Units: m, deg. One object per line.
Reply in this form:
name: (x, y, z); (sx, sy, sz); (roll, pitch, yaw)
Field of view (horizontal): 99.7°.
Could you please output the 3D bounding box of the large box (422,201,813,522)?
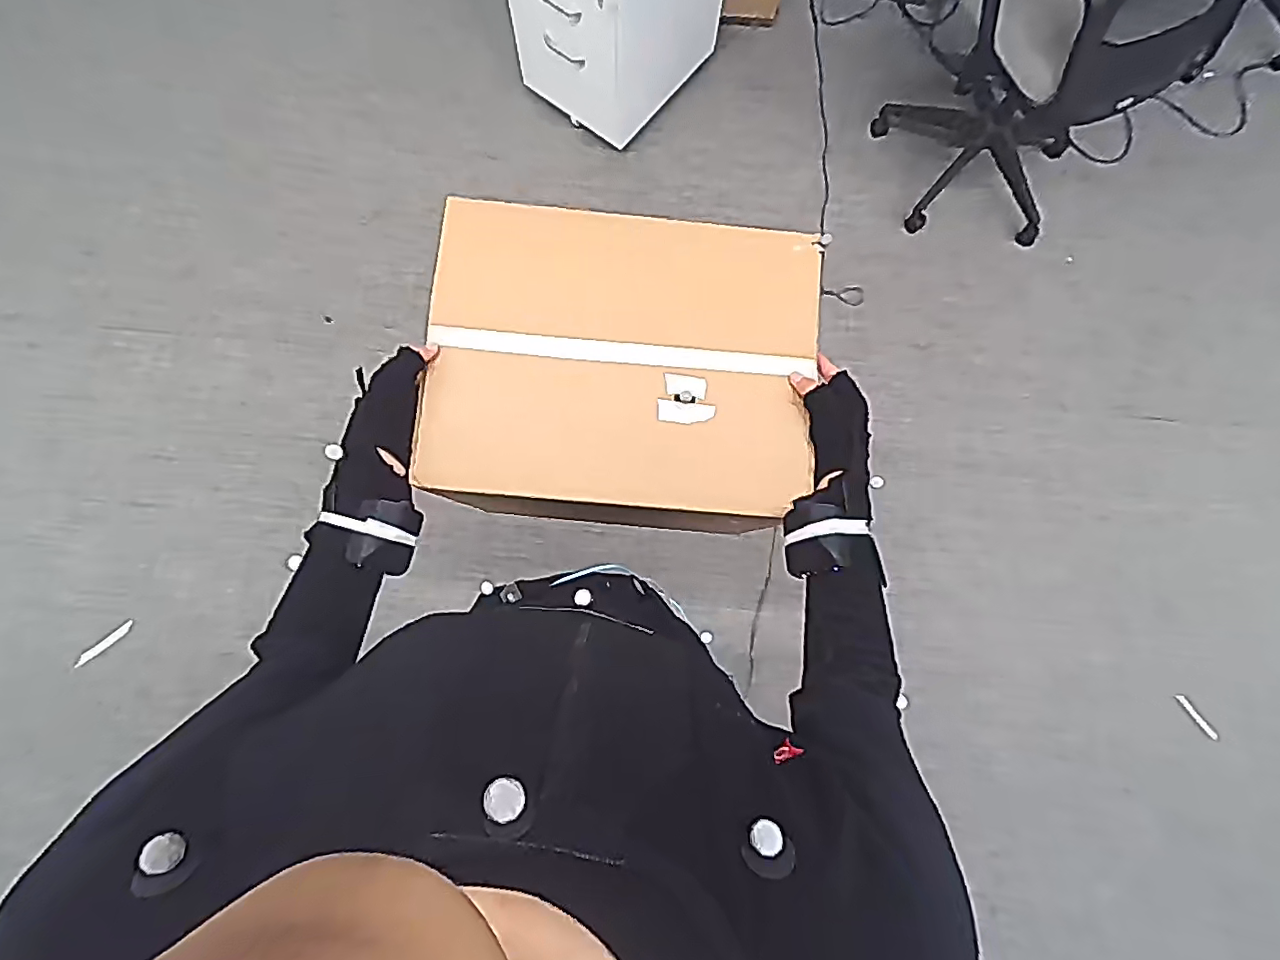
large box: (-0.024, -0.119, 0.722); (0.408, 0.320, 0.320); (5, 83, -3)
